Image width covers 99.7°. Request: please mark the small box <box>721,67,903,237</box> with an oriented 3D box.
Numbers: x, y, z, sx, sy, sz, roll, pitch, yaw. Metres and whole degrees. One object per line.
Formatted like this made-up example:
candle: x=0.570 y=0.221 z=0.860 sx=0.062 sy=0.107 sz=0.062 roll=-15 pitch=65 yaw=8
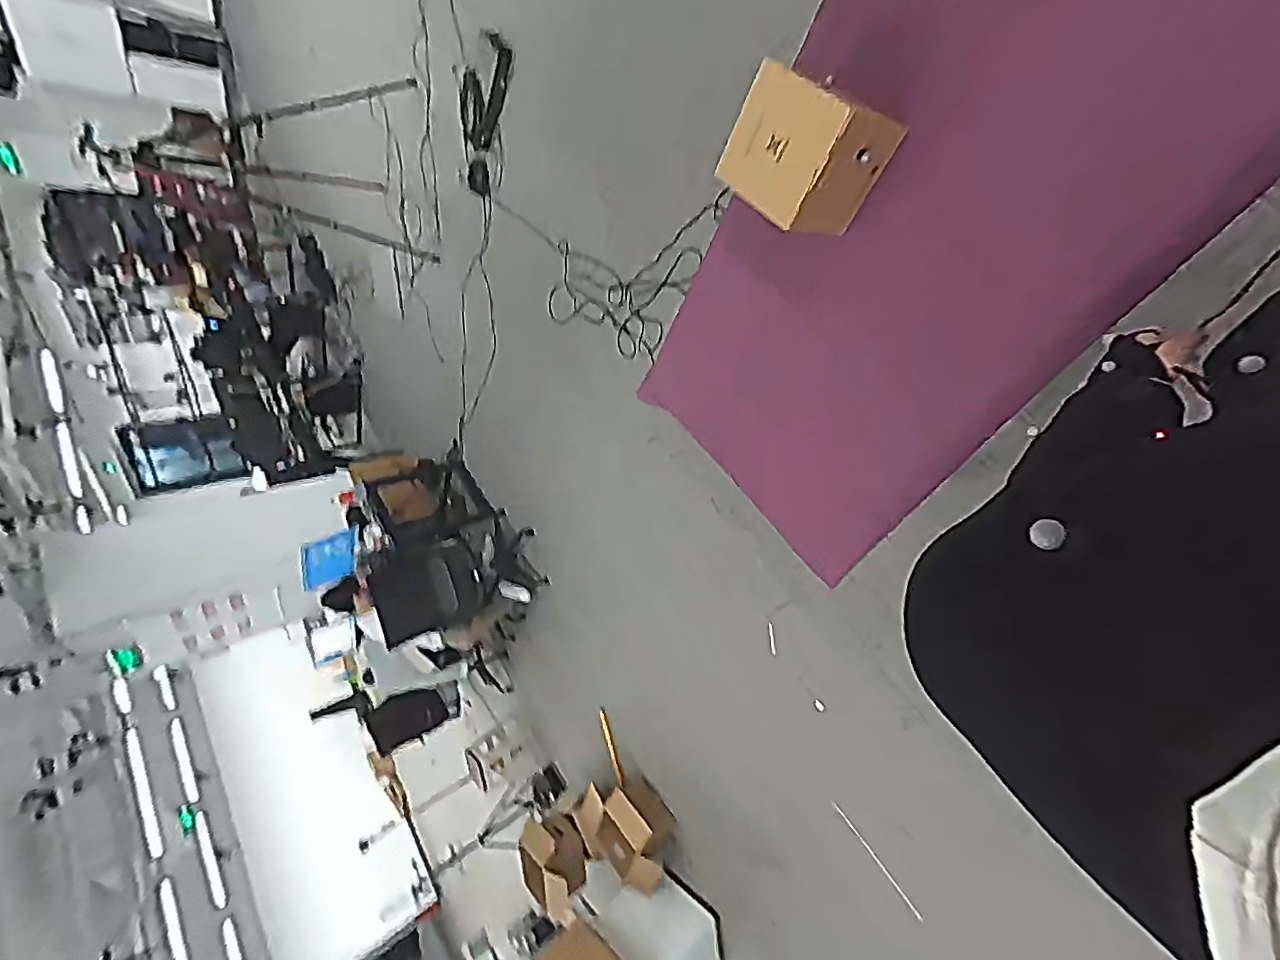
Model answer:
small box: x=0.268 y=-0.502 z=0.845 sx=0.179 sy=0.176 sz=0.168 roll=51 pitch=137 yaw=24
